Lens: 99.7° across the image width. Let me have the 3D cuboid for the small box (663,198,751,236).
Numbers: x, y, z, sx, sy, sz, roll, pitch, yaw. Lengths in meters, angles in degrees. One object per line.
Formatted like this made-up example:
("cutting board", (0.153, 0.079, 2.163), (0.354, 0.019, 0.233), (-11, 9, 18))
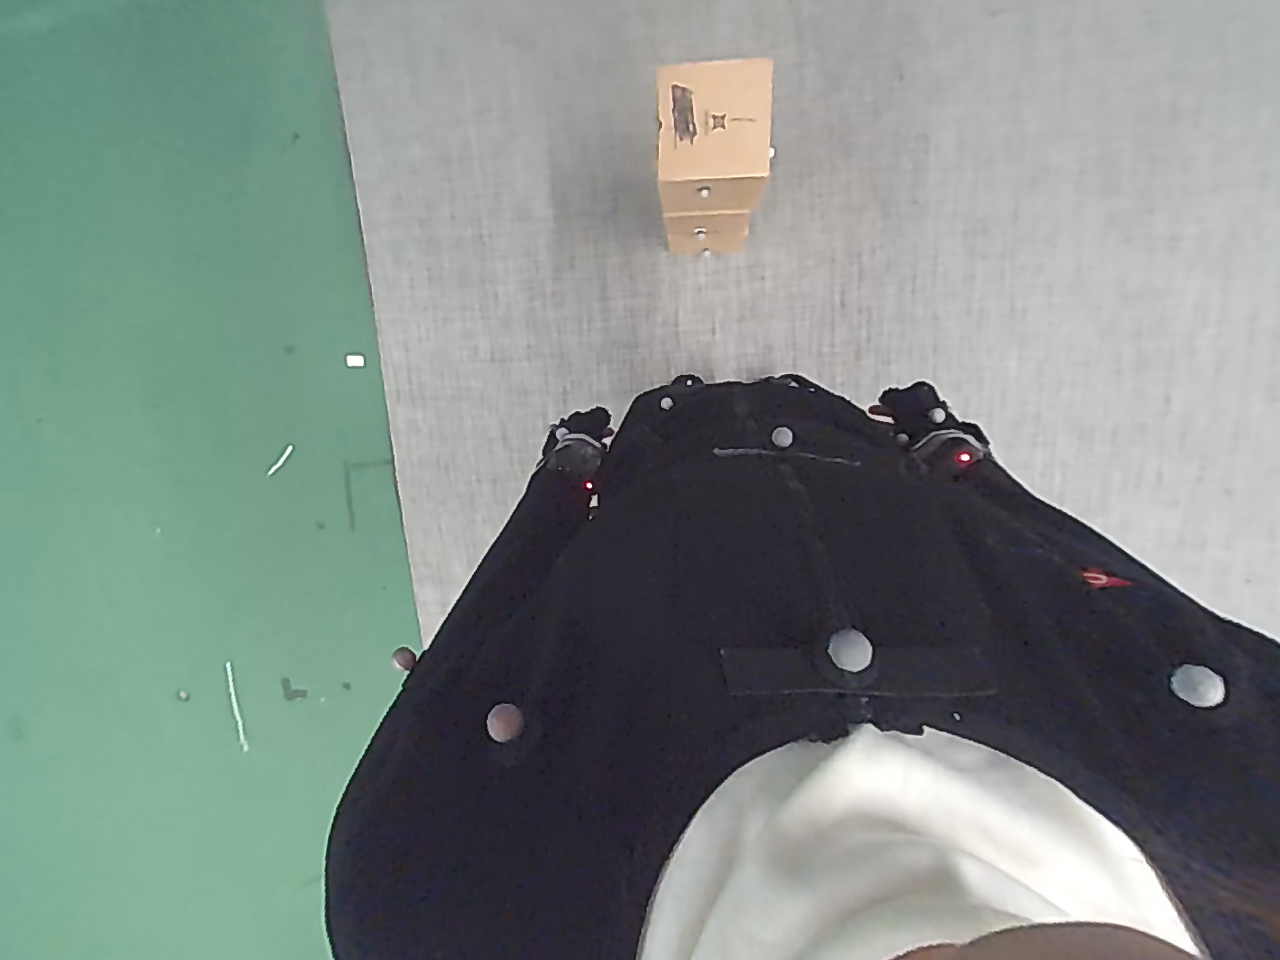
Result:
("small box", (0.134, -0.600, 1.073), (0.168, 0.176, 0.179), (1, 102, 8))

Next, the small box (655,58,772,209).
("small box", (0.121, -0.569, 0.911), (0.179, 0.176, 0.168), (1, 101, 7))

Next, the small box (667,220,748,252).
("small box", (0.153, -0.625, 1.232), (0.179, 0.176, 0.168), (2, 101, 6))
